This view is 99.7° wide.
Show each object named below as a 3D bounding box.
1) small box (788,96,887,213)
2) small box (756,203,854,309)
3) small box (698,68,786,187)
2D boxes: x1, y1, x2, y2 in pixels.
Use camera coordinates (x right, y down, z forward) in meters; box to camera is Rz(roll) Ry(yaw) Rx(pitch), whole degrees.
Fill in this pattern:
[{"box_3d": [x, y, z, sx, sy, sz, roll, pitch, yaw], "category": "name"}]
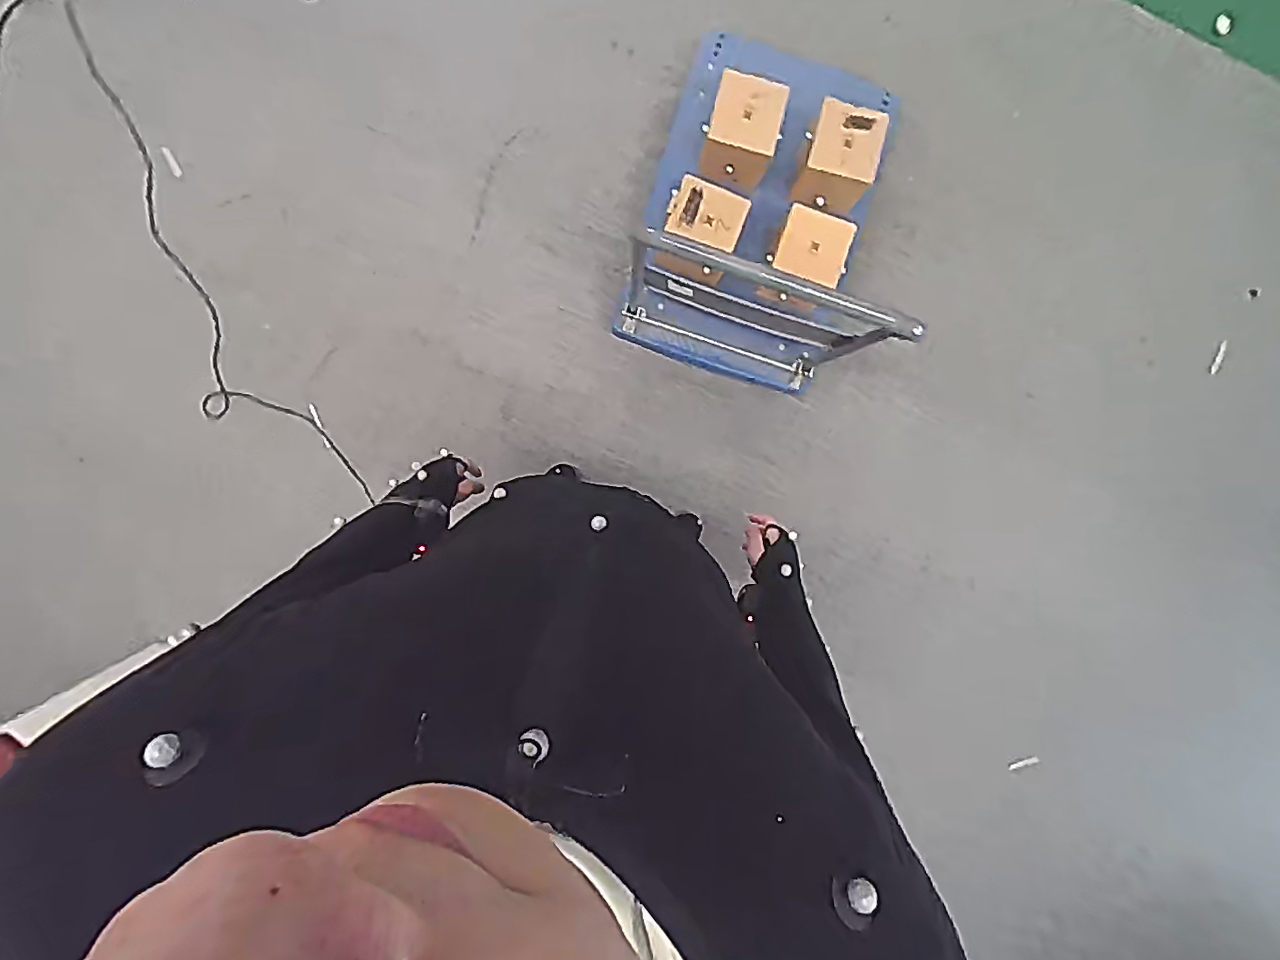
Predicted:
[{"box_3d": [0.496, -0.824, 1.384, 0.168, 0.176, 0.179, 14, 92, -1], "category": "small box"}, {"box_3d": [0.415, -0.566, 1.390, 0.168, 0.176, 0.179, 19, 91, -2], "category": "small box"}, {"box_3d": [0.251, -0.884, 1.375, 0.168, 0.176, 0.179, 14, 91, -3], "category": "small box"}]
